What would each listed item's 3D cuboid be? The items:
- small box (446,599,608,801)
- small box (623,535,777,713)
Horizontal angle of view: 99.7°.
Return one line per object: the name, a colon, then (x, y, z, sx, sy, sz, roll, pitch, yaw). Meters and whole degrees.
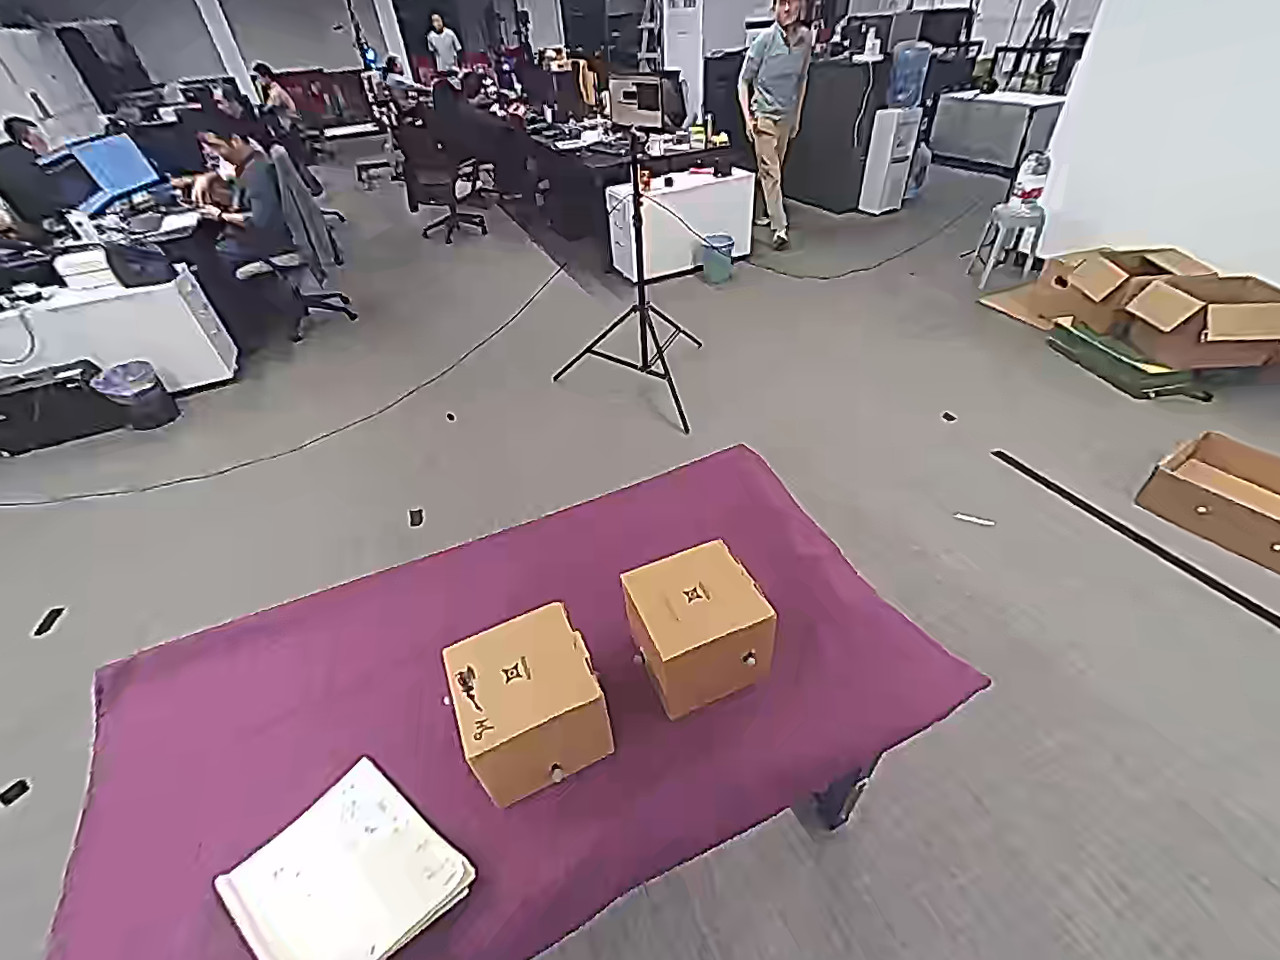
small box: (-0.151, 0.306, 0.758, 0.179, 0.176, 0.168, -19, 42, -17)
small box: (0.089, 0.220, 0.834, 0.179, 0.176, 0.168, -19, 41, -13)
